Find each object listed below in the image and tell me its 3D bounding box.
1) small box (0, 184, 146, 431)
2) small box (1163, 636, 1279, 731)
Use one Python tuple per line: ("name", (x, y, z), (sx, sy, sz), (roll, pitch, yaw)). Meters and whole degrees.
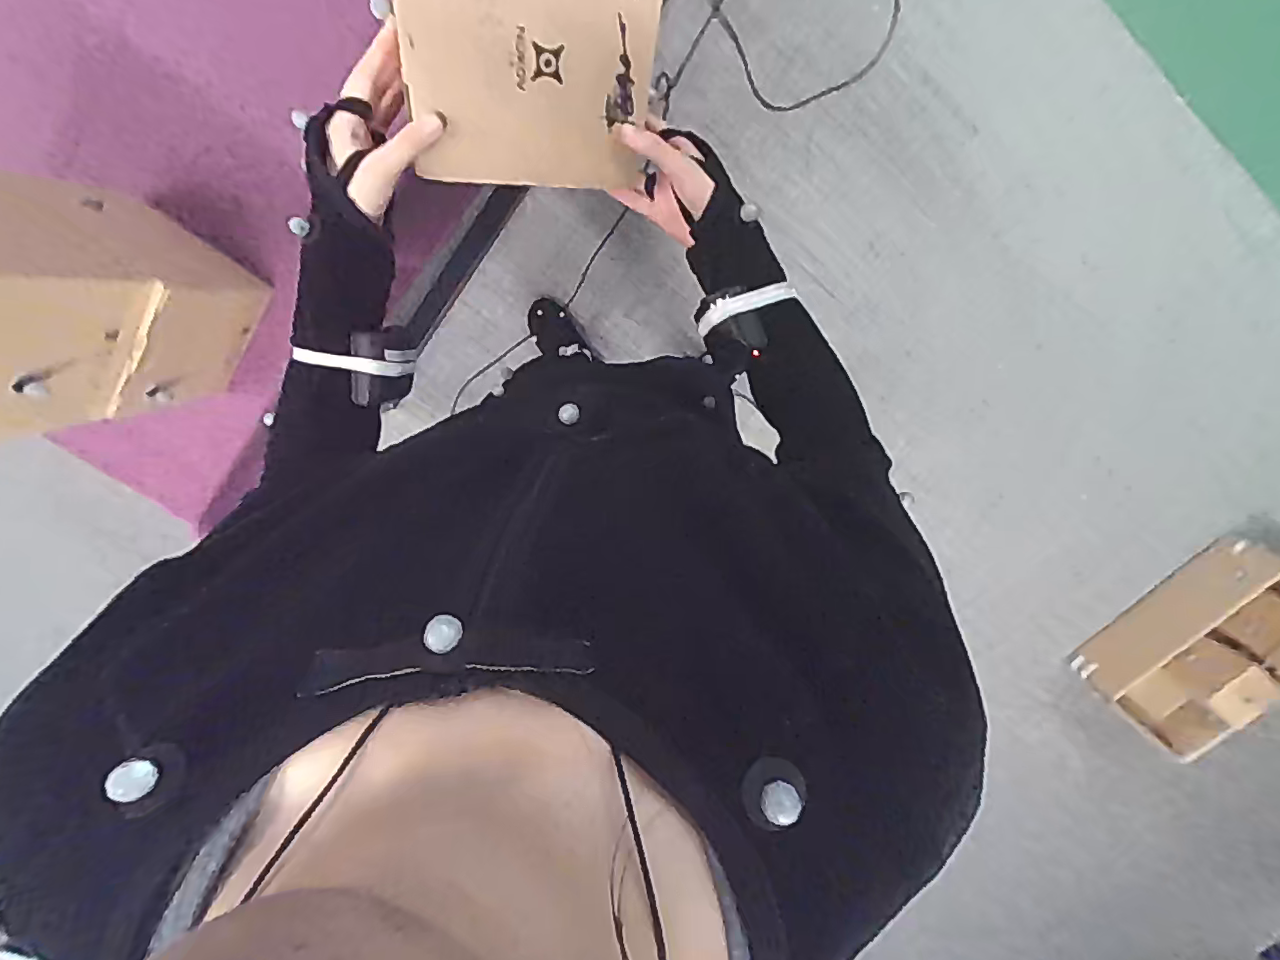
("small box", (-0.583, -0.153, 0.452), (0.179, 0.176, 0.168), (33, 105, -10))
("small box", (1.764, 0.607, 1.632), (0.179, 0.176, 0.168), (38, 103, -12))
